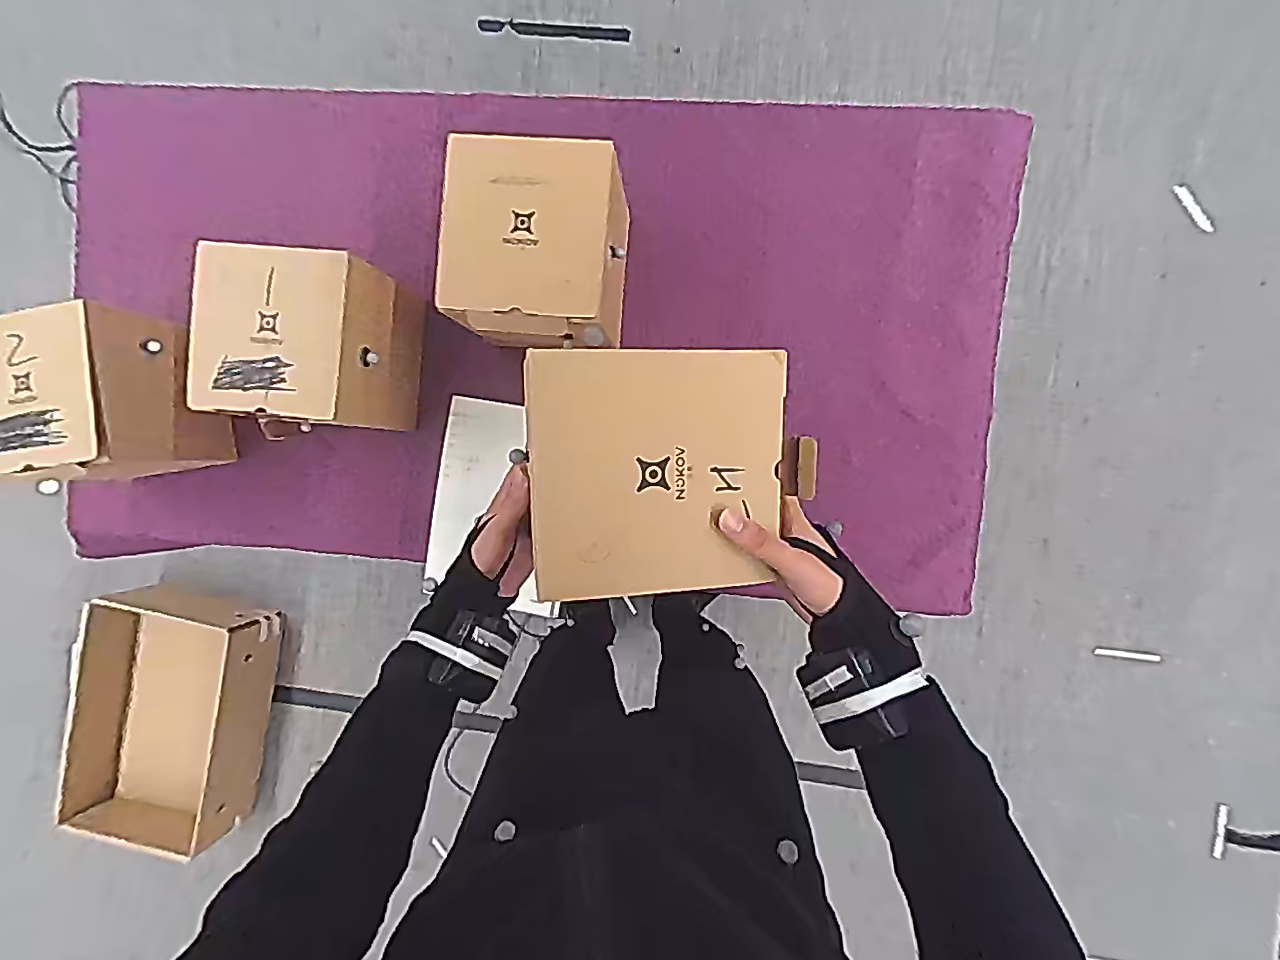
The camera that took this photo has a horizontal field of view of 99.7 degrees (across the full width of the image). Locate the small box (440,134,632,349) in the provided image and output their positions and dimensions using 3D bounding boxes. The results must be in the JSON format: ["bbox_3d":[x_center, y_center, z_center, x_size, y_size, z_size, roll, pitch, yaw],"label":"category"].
[{"bbox_3d":[-0.103,-0.246,0.604,0.168,0.176,0.179,6,92,4],"label":"small box"}]

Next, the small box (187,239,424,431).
[{"bbox_3d":[-0.371,-0.153,0.628,0.168,0.176,0.179,6,91,4],"label":"small box"}]

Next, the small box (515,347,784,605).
[{"bbox_3d":[-0.005,-0.014,0.430,0.179,0.176,0.168,-3,100,-13],"label":"small box"}]
